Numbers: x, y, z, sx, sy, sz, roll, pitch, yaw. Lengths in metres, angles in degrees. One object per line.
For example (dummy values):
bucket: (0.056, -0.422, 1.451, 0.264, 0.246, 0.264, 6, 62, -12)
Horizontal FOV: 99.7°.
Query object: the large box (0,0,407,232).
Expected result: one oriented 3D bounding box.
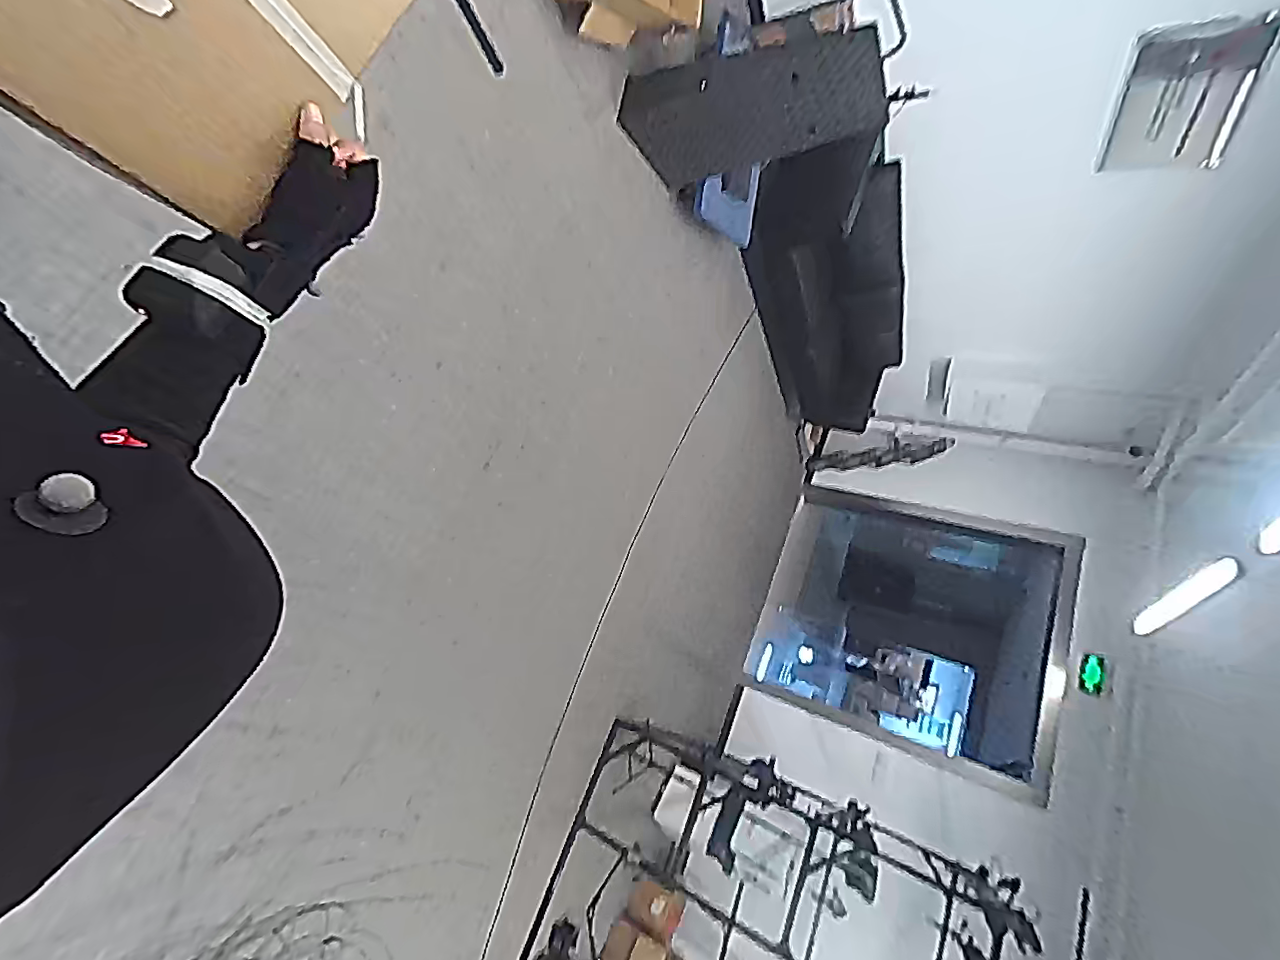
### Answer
large box: (-0.436, -0.450, 0.346, 0.320, 0.320, 0.408, -58, 154, -3)
